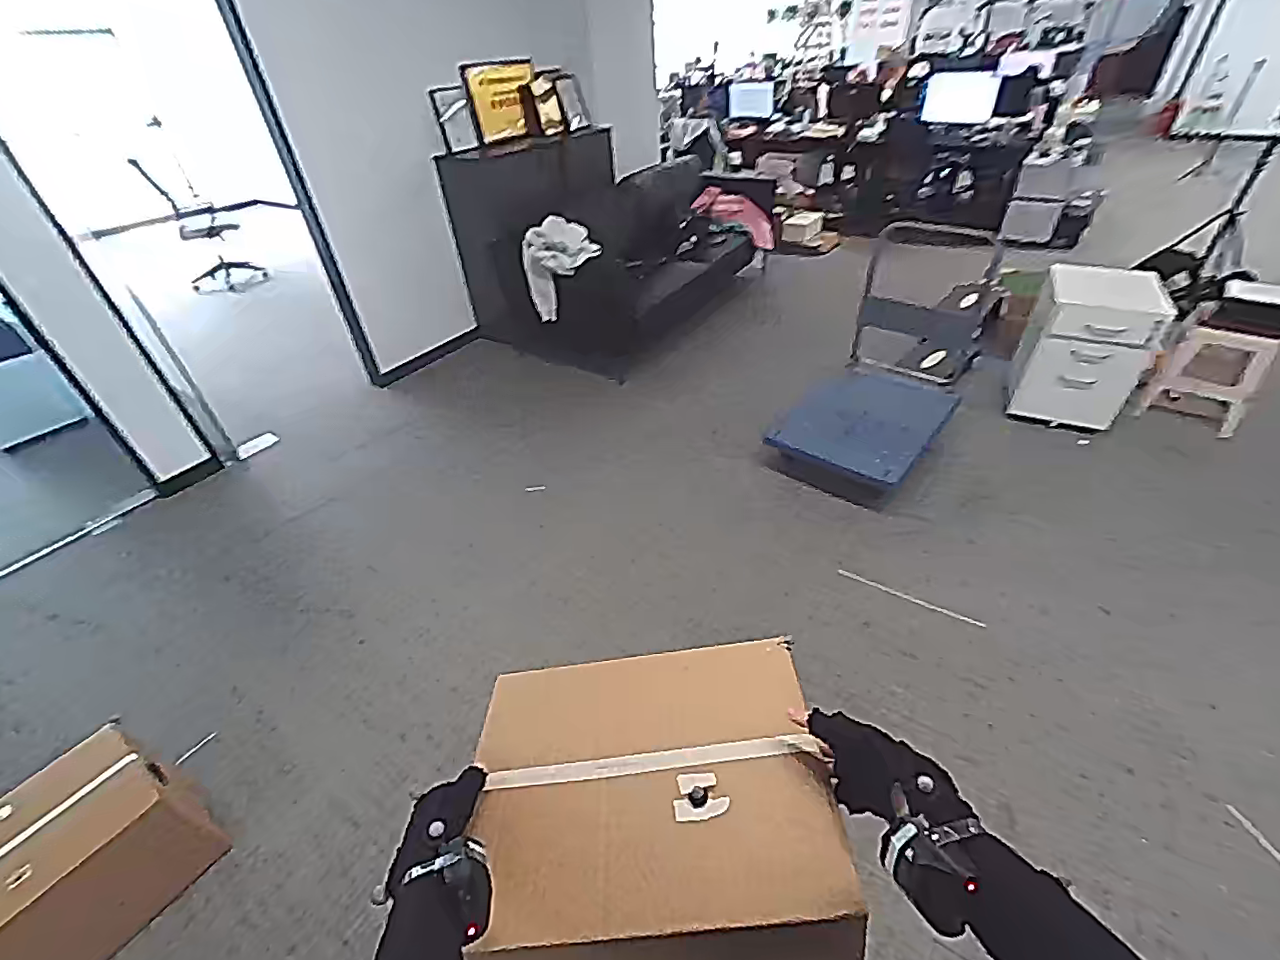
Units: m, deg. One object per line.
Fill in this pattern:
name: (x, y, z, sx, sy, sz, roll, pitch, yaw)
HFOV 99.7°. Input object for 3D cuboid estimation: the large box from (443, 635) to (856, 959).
large box: (0.023, 0.449, 0.708, 0.408, 0.320, 0.320, -9, 33, 4)
